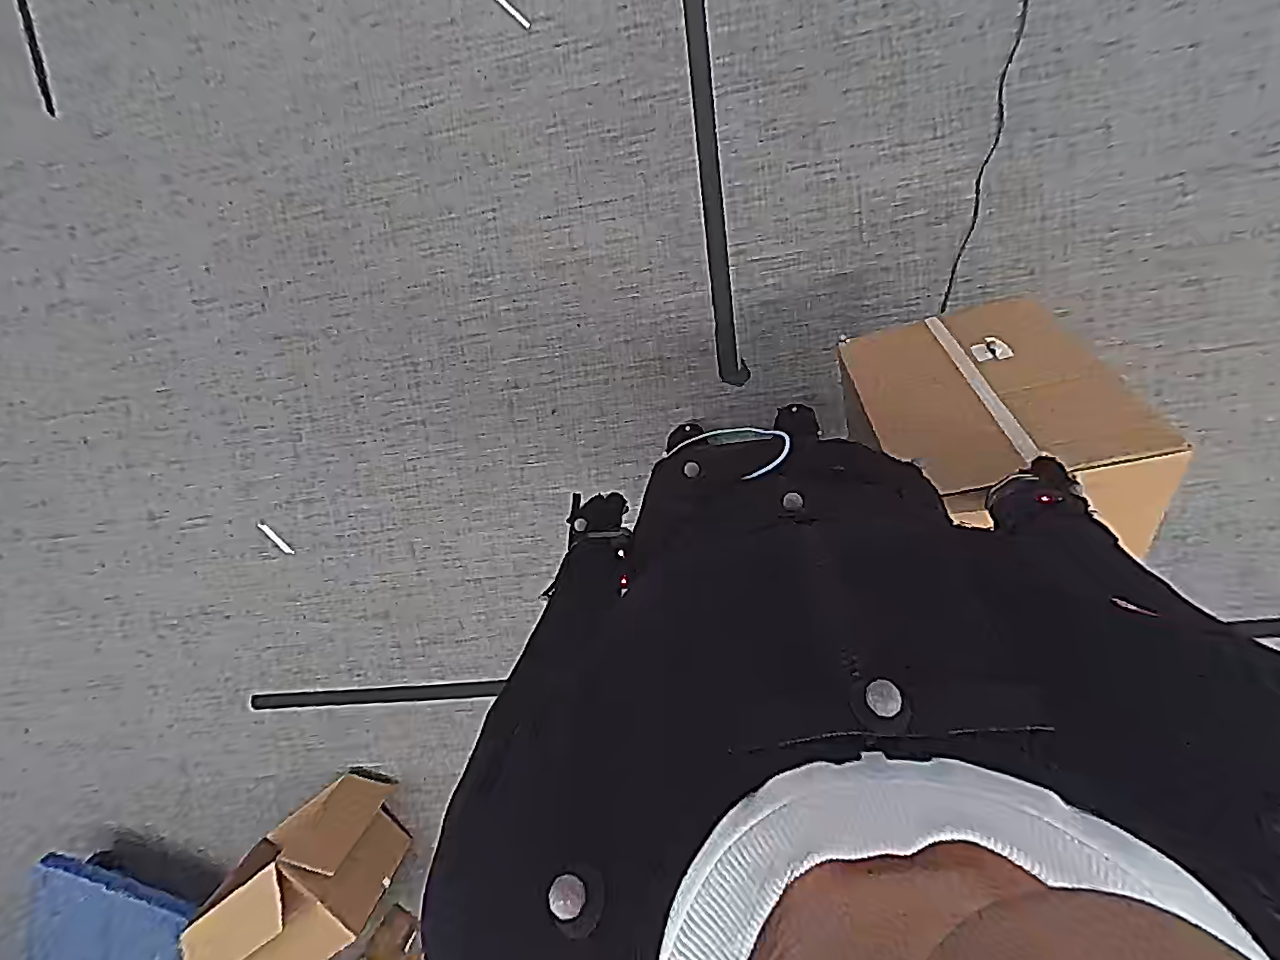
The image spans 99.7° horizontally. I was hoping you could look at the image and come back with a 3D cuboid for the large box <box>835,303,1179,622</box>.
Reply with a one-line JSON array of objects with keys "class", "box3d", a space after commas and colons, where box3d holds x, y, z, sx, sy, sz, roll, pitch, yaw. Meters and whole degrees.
[{"class": "large box", "box3d": [0.549, -0.032, 0.910, 0.320, 0.408, 0.320, -12, 131, 13]}]
